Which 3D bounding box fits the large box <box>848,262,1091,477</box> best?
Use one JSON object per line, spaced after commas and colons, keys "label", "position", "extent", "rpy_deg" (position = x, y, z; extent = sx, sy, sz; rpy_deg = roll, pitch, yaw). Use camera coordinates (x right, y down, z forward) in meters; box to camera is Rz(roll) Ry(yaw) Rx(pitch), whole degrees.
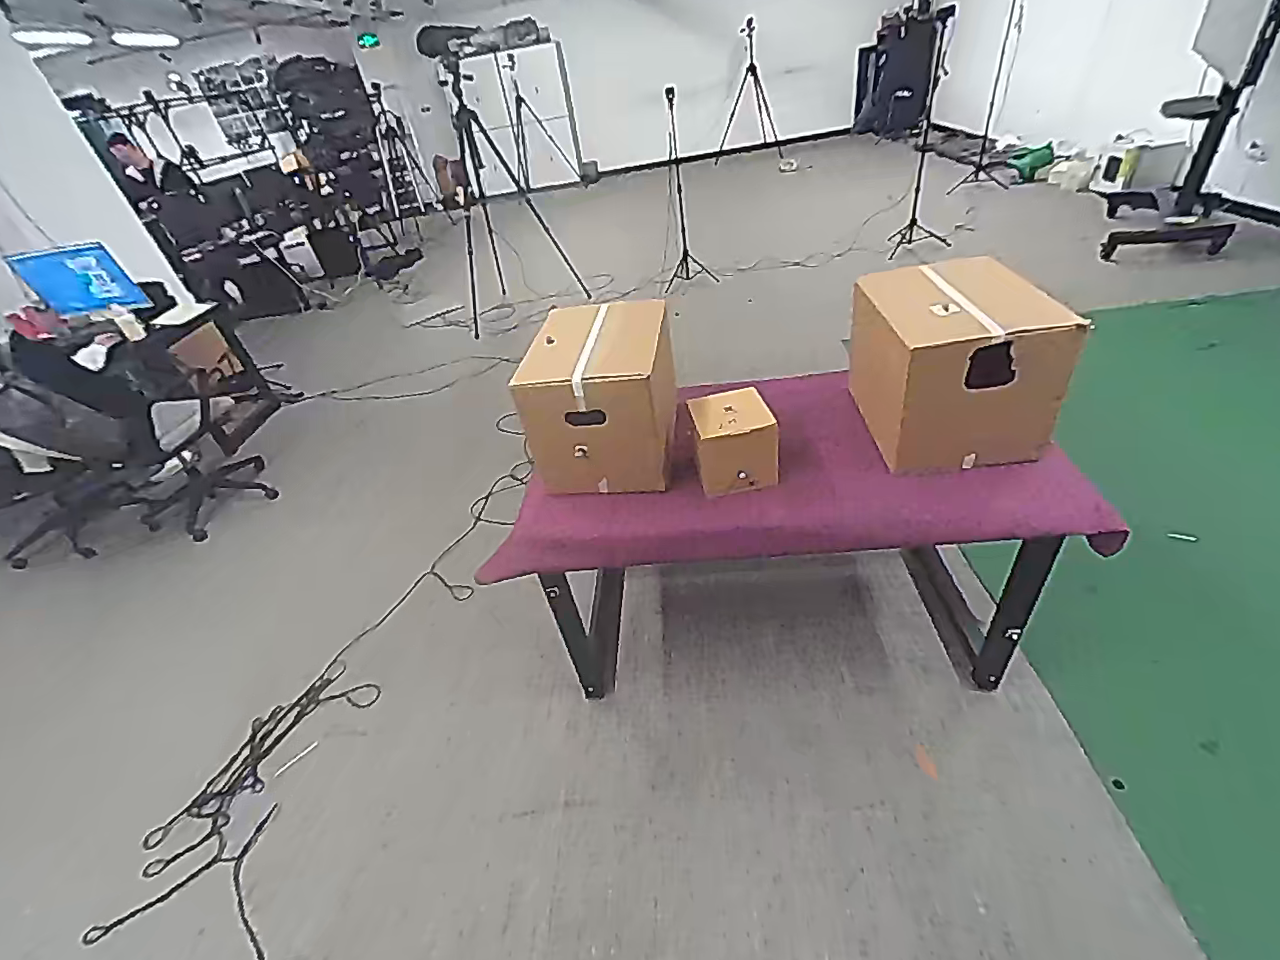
{"label": "large box", "position": [0.694, -0.260, 1.236], "extent": [0.320, 0.320, 0.408], "rpy_deg": [-7, 38, 9]}
